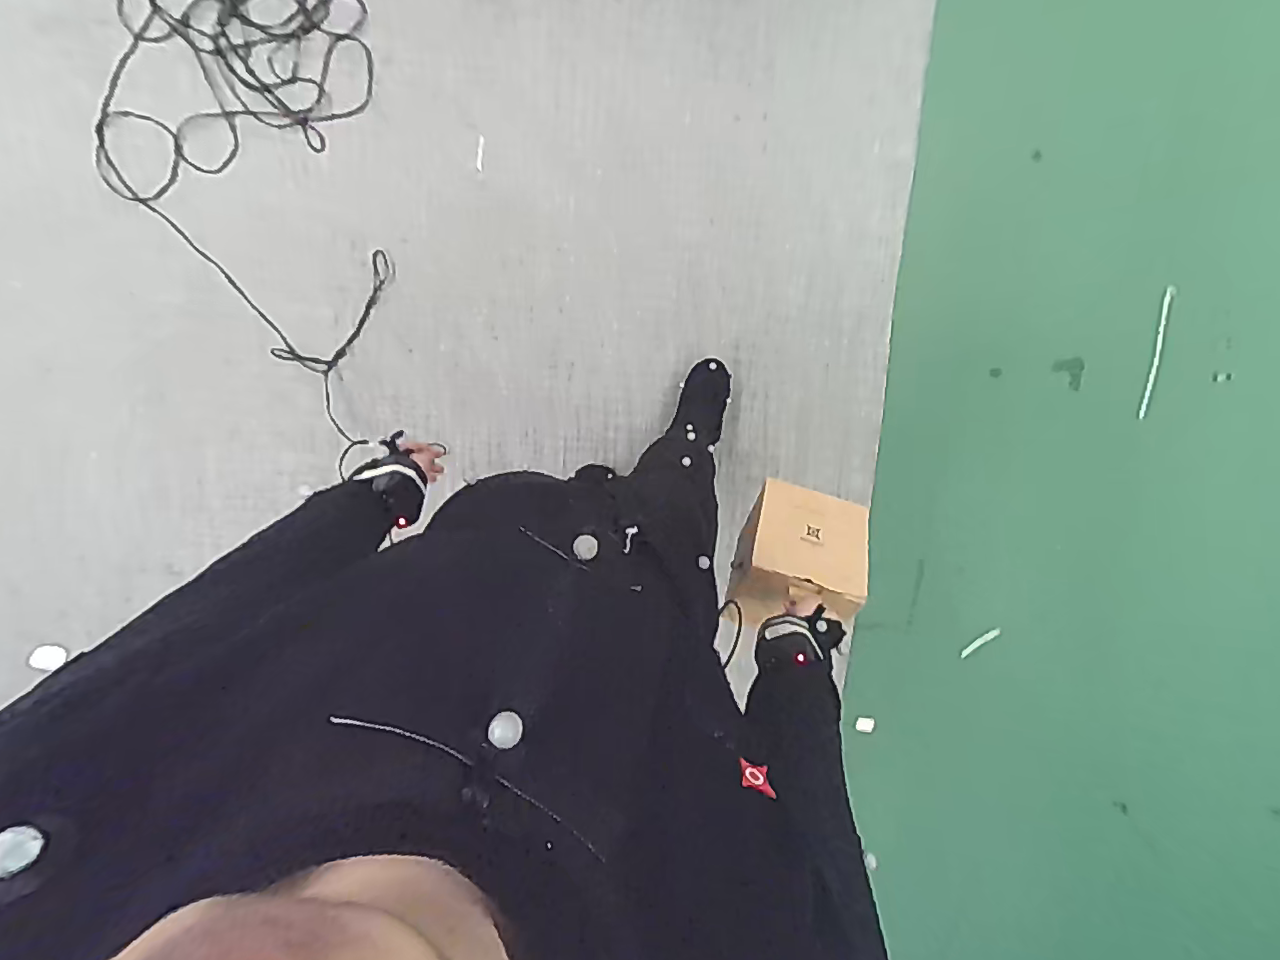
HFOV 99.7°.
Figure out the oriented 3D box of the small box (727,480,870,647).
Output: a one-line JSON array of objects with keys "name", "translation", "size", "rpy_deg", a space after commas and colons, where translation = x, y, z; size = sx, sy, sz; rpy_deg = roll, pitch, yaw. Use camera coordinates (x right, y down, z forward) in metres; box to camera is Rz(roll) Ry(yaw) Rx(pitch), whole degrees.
[{"name": "small box", "translation": [0.243, 0.135, 0.846], "size": [0.168, 0.179, 0.176], "rpy_deg": [17, 139, 5]}]
